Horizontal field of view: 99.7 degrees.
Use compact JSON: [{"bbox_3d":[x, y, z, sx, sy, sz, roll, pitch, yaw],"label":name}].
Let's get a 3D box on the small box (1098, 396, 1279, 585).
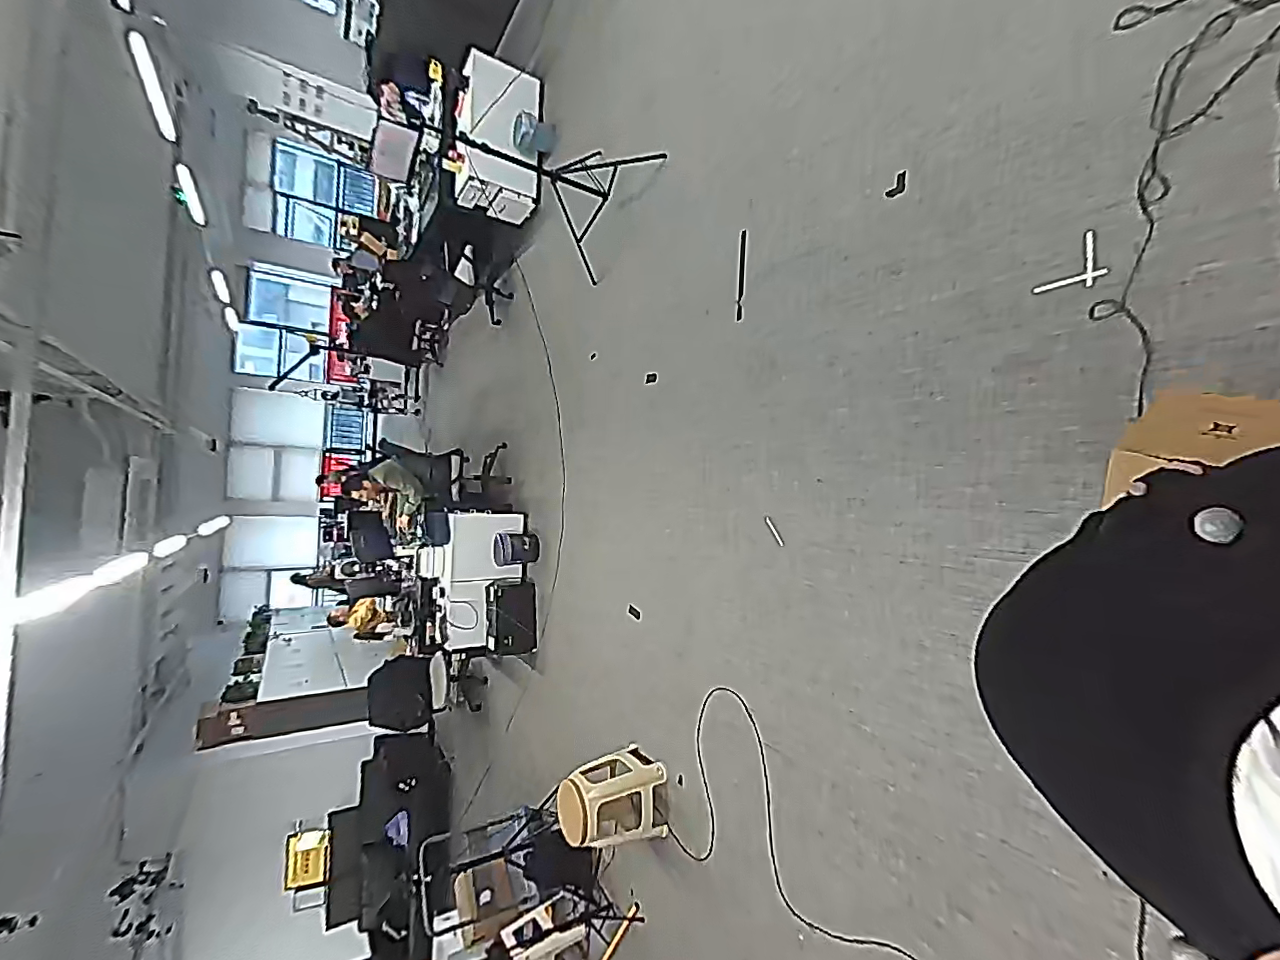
[{"bbox_3d":[0.751,0.009,0.723,0.168,0.179,0.176,26,141,51],"label":"small box"}]
